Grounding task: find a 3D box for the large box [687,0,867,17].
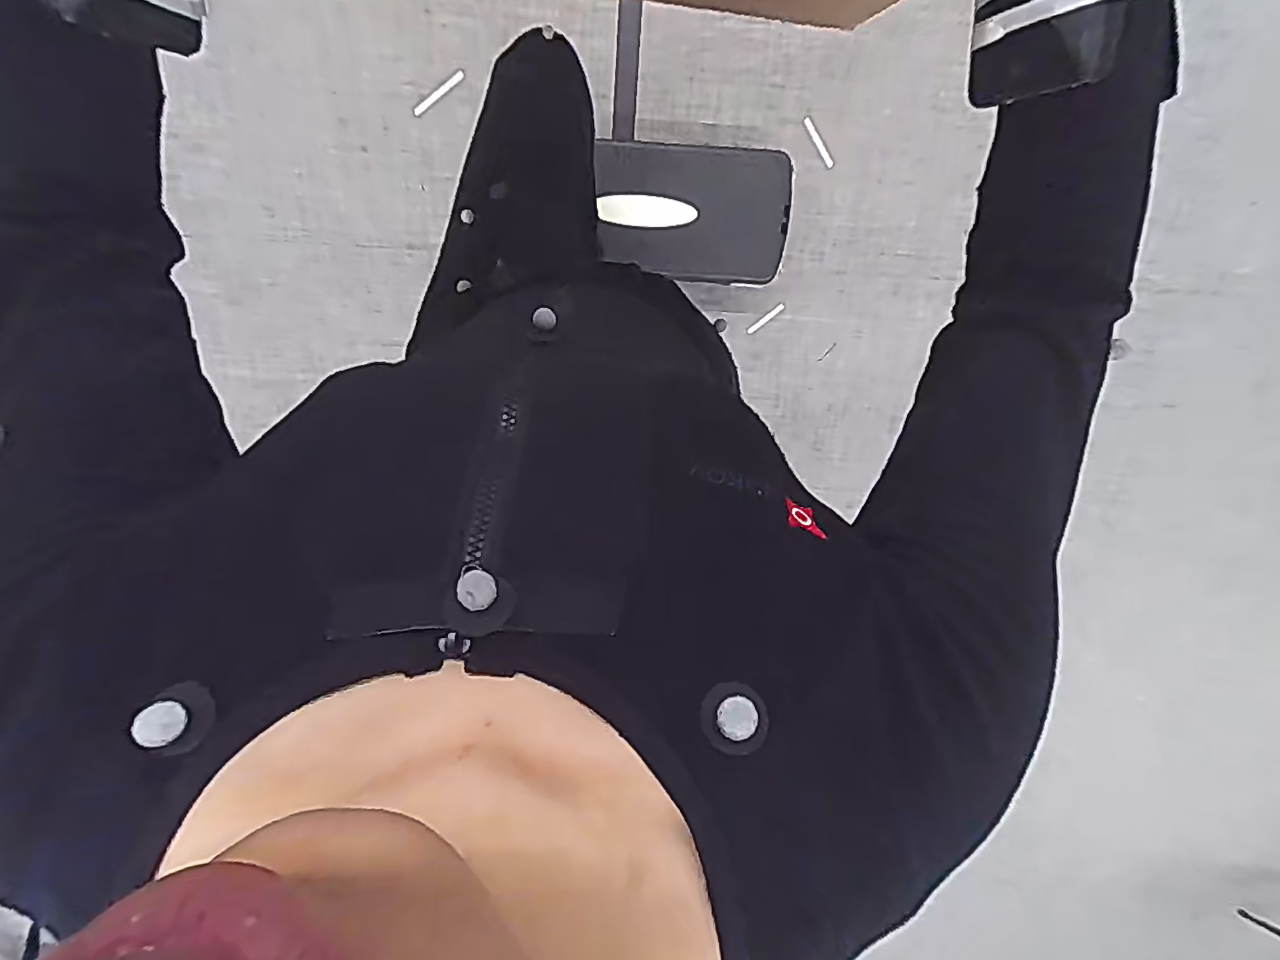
[{"bbox_3d":[0.002,-0.488,0.280,0.408,0.320,0.320,7,122,-2],"label":"large box"}]
